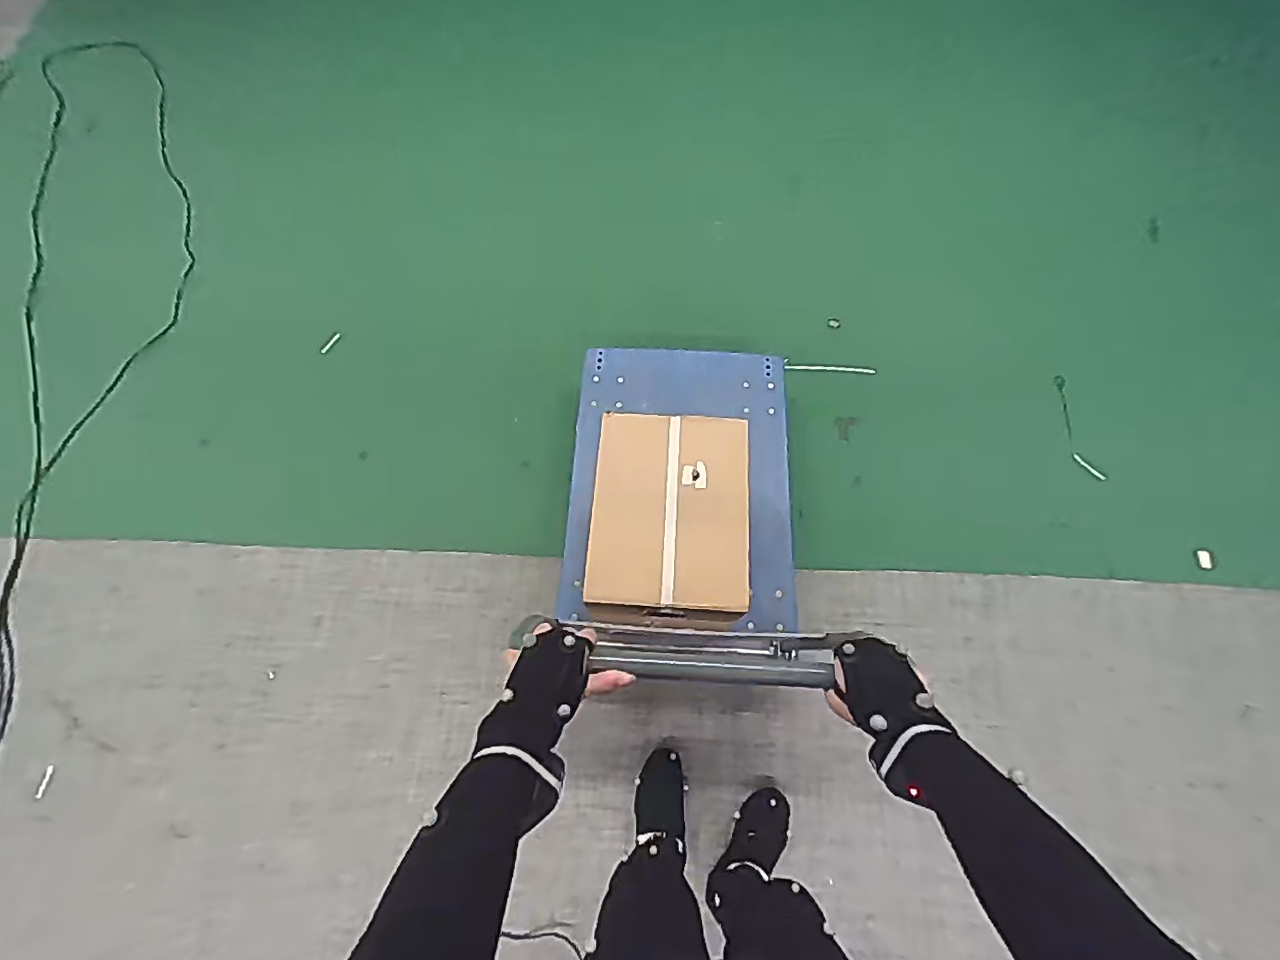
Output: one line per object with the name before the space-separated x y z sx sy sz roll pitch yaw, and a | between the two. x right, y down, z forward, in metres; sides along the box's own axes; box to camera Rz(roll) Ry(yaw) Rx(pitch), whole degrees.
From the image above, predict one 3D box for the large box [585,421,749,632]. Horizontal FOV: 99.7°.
large box | 0.061 0.120 1.224 0.320 0.320 0.408 3 67 1
